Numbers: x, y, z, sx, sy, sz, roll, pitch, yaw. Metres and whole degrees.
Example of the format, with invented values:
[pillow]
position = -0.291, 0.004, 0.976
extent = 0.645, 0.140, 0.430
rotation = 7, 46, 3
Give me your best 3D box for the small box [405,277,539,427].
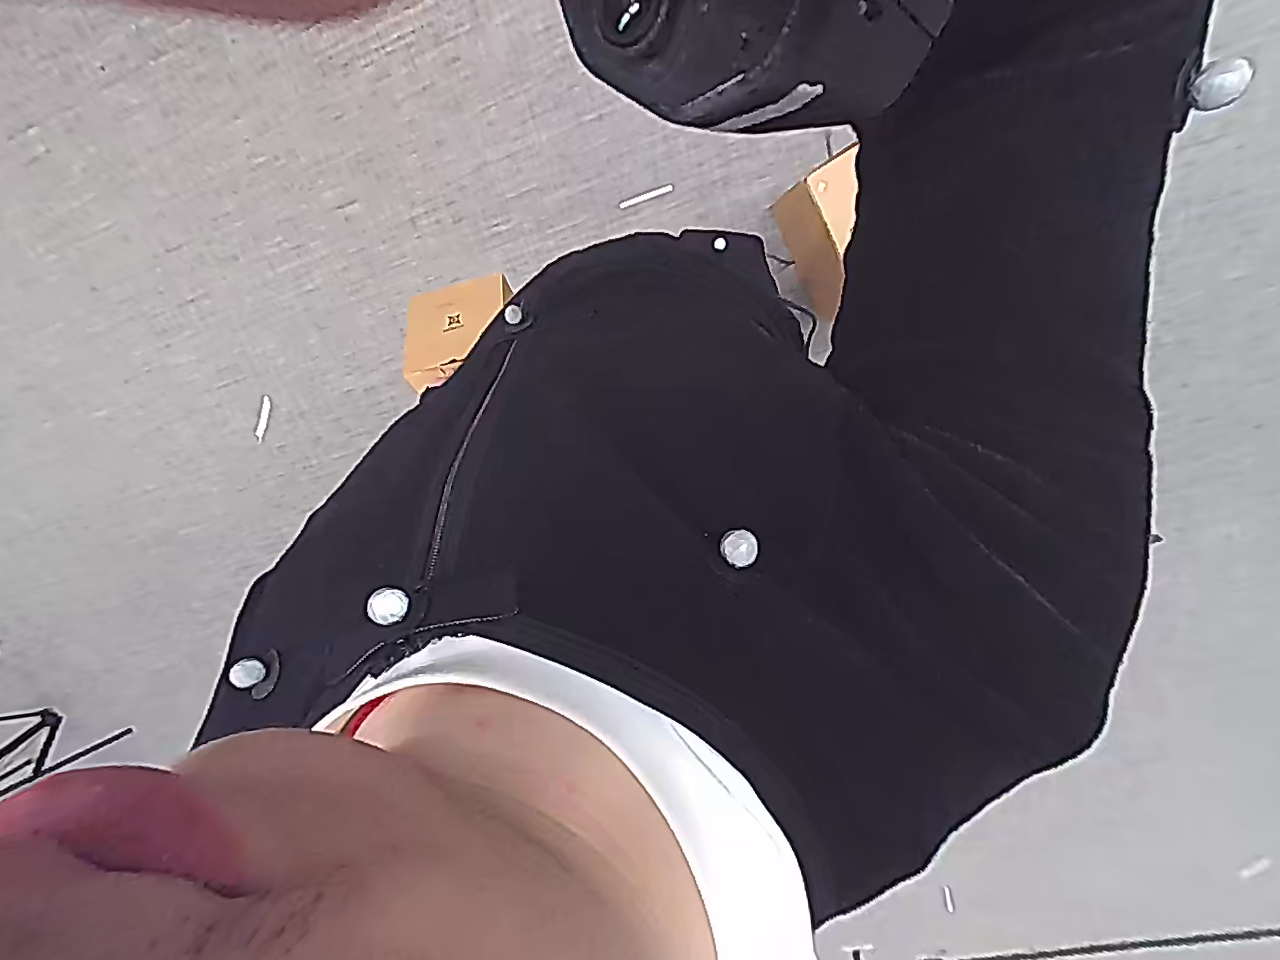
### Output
[small box]
position = -0.280, -0.208, 0.932
extent = 0.168, 0.179, 0.176
rotation = -13, 150, 5
